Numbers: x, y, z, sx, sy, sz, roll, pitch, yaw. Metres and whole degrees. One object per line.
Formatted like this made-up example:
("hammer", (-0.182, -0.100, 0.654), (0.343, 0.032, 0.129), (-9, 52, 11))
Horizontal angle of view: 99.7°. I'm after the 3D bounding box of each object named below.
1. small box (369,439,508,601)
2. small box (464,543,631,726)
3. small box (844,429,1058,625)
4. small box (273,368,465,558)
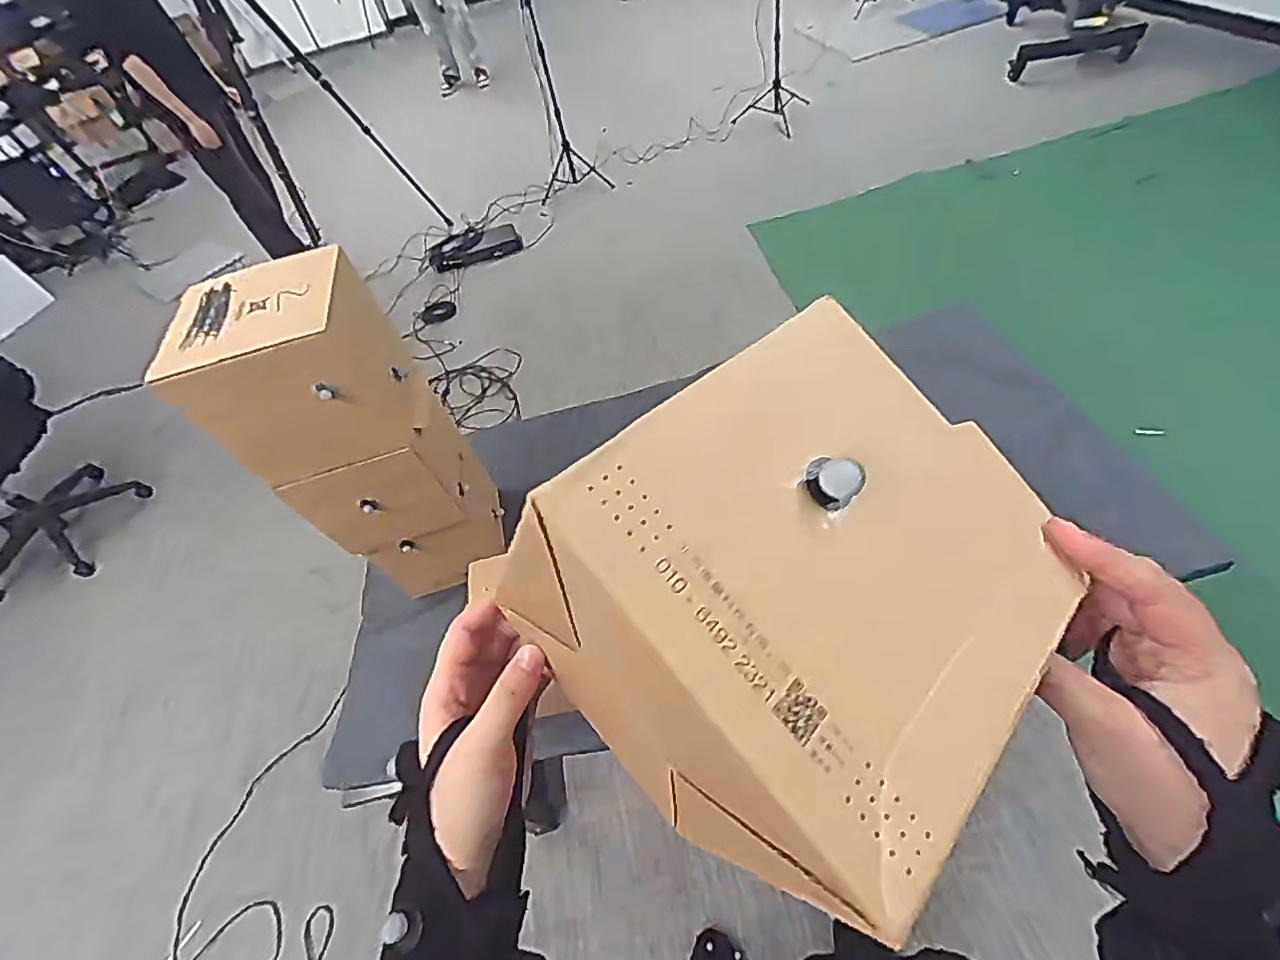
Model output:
("small box", (-0.328, 0.067, 0.883), (0.168, 0.176, 0.179), (-18, 51, -2))
("small box", (-0.113, 0.210, 0.720), (0.179, 0.176, 0.168), (-14, 51, 3))
("small box", (0.387, 0.065, 0.717), (0.168, 0.176, 0.179), (-15, 50, 2))
("small box", (-0.353, -0.018, 0.743), (0.179, 0.176, 0.168), (-18, 52, -1))
